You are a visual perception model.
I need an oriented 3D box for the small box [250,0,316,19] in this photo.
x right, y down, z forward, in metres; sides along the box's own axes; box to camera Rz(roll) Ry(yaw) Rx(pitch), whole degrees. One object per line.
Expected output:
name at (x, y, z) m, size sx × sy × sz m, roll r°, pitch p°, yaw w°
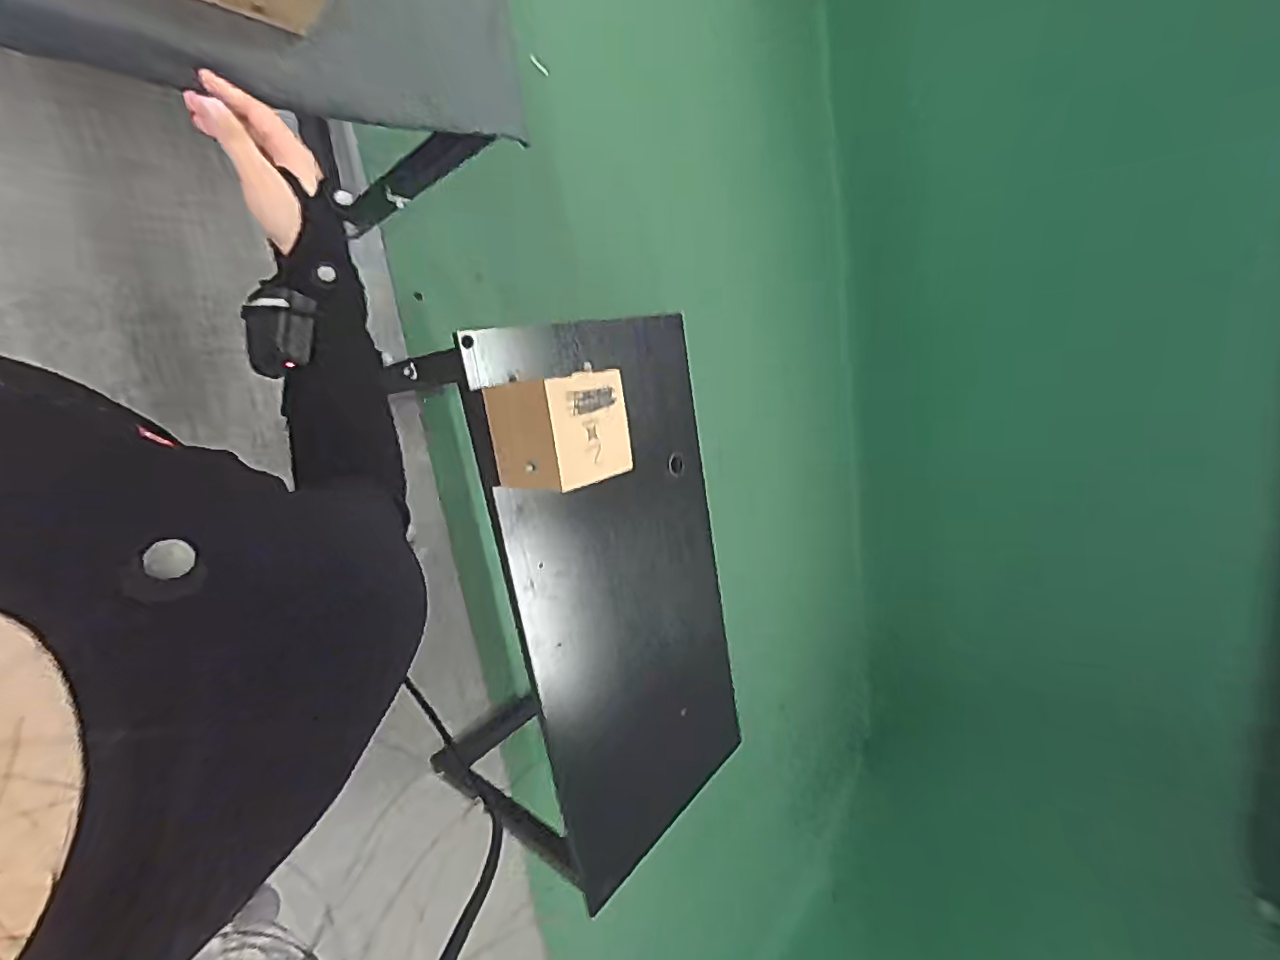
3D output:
small box at (-0.428, -0.642, 0.563) m, size 0.168 × 0.176 × 0.179 m, roll -16°, pitch 104°, yaw -45°
